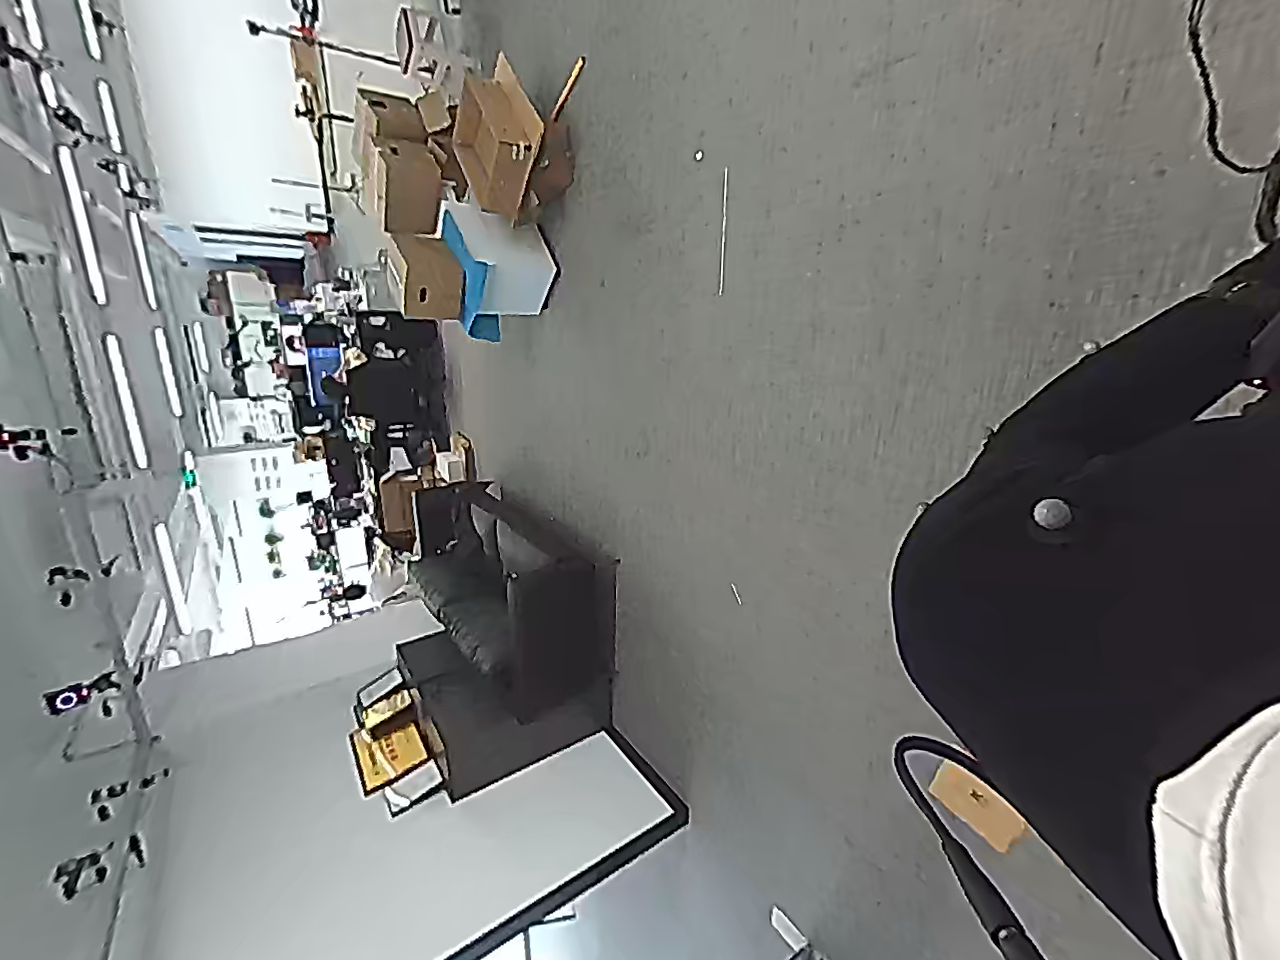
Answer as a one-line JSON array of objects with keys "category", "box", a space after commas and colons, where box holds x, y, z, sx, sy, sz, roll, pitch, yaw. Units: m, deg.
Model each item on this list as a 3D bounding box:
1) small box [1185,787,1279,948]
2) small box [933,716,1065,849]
[{"category": "small box", "box": [1.179, 0.729, 1.018, 0.168, 0.176, 0.179, 20, 117, 53]}, {"category": "small box", "box": [0.825, 0.683, 1.244, 0.179, 0.176, 0.168, 37, 127, 46]}]
